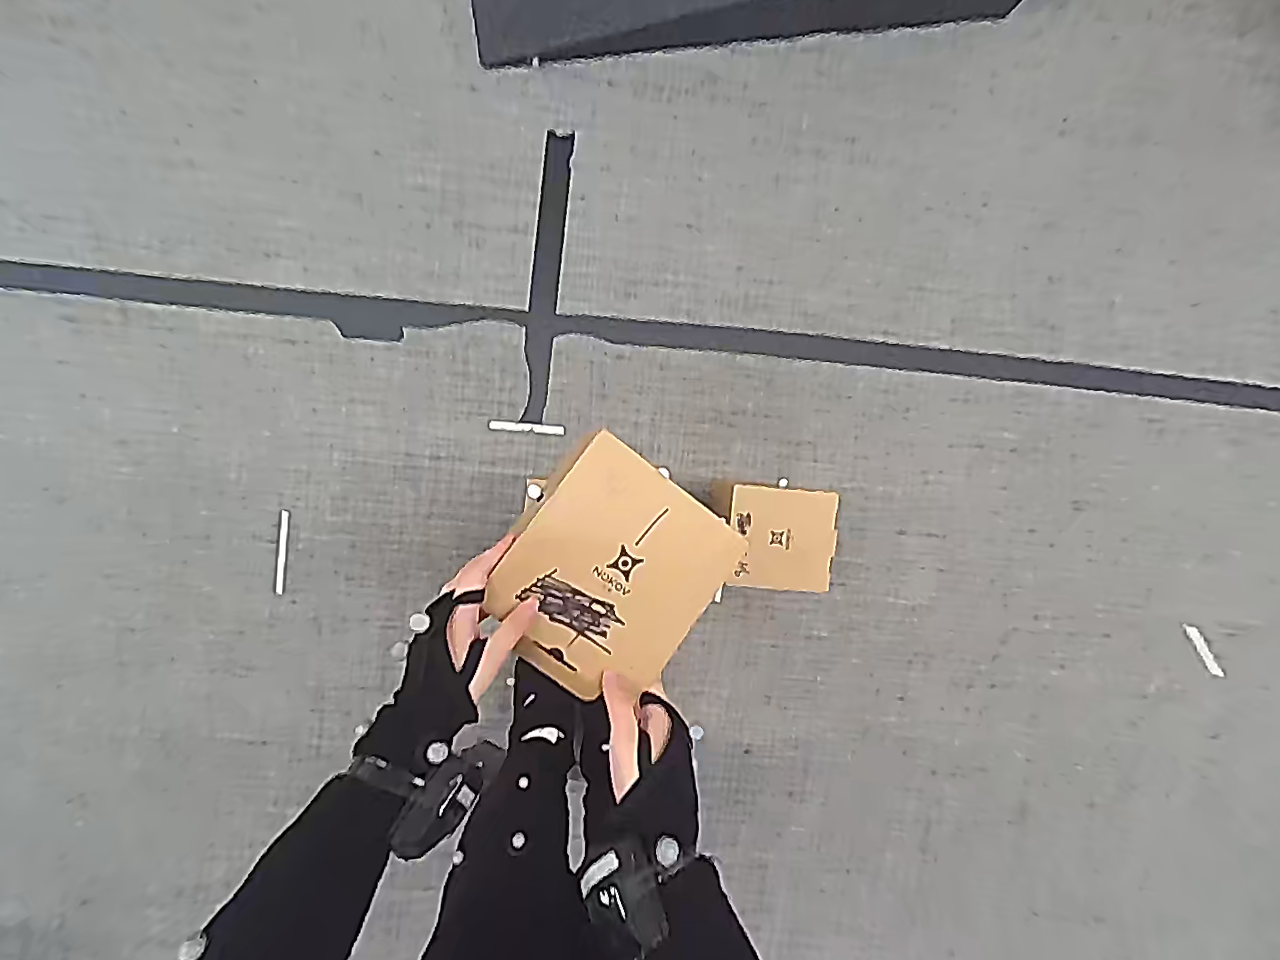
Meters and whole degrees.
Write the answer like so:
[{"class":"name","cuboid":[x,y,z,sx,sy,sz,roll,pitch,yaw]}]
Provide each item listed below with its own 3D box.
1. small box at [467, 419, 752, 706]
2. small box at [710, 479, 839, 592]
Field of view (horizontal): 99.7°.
[{"class":"small box","cuboid":[-0.032,0.064,0.509,0.168,0.176,0.179,38,85,-10]},{"class":"small box","cuboid":[0.220,0.088,0.942,0.179,0.176,0.168,5,92,-5]}]
